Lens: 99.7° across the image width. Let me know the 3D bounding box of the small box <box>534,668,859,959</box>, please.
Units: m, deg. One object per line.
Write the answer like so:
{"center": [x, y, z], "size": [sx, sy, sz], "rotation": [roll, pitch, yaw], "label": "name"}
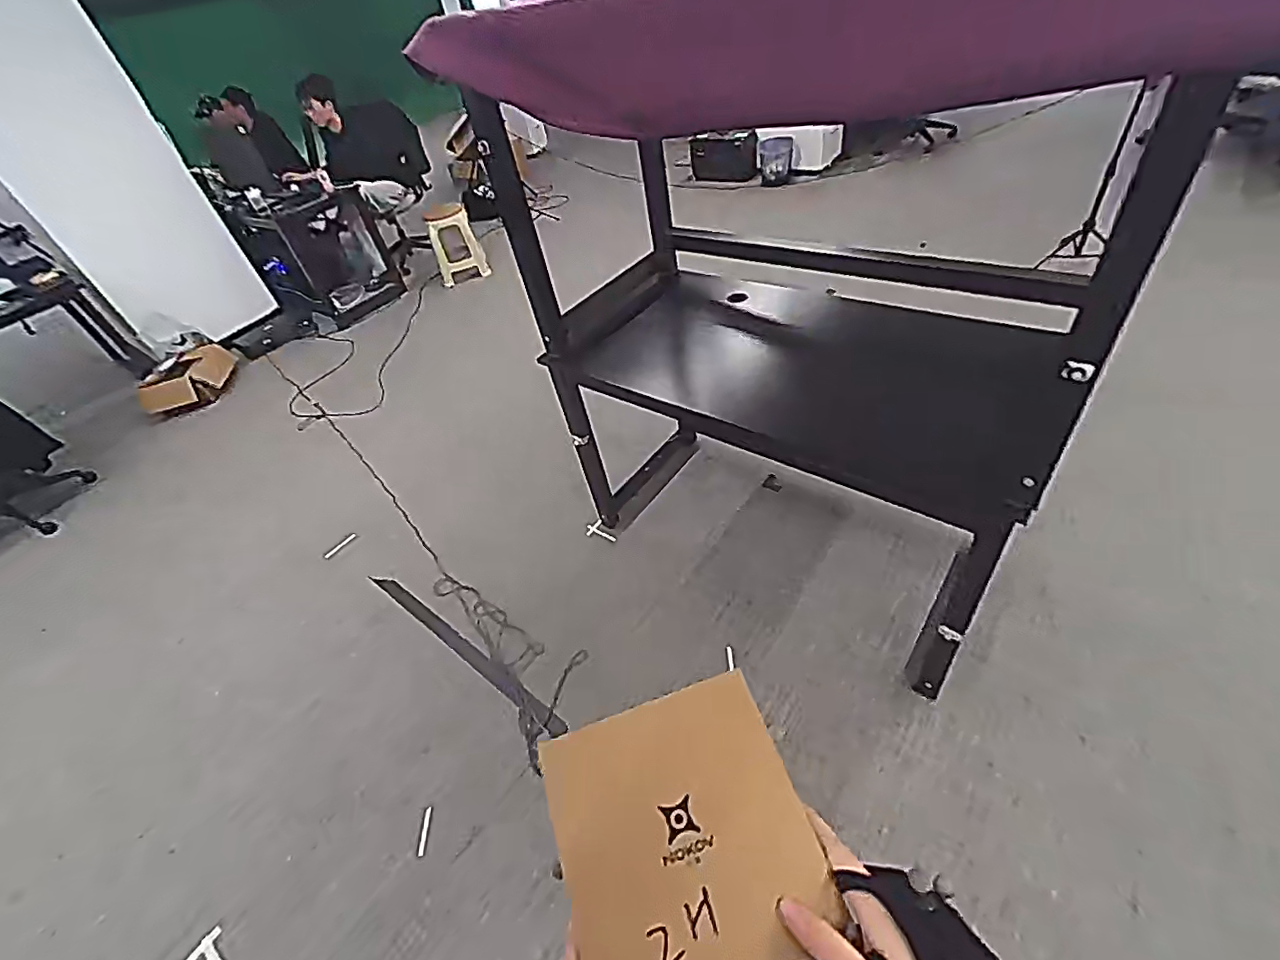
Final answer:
{"center": [0.033, 0.278, 0.417], "size": [0.168, 0.176, 0.179], "rotation": [-19, 55, -6], "label": "small box"}
